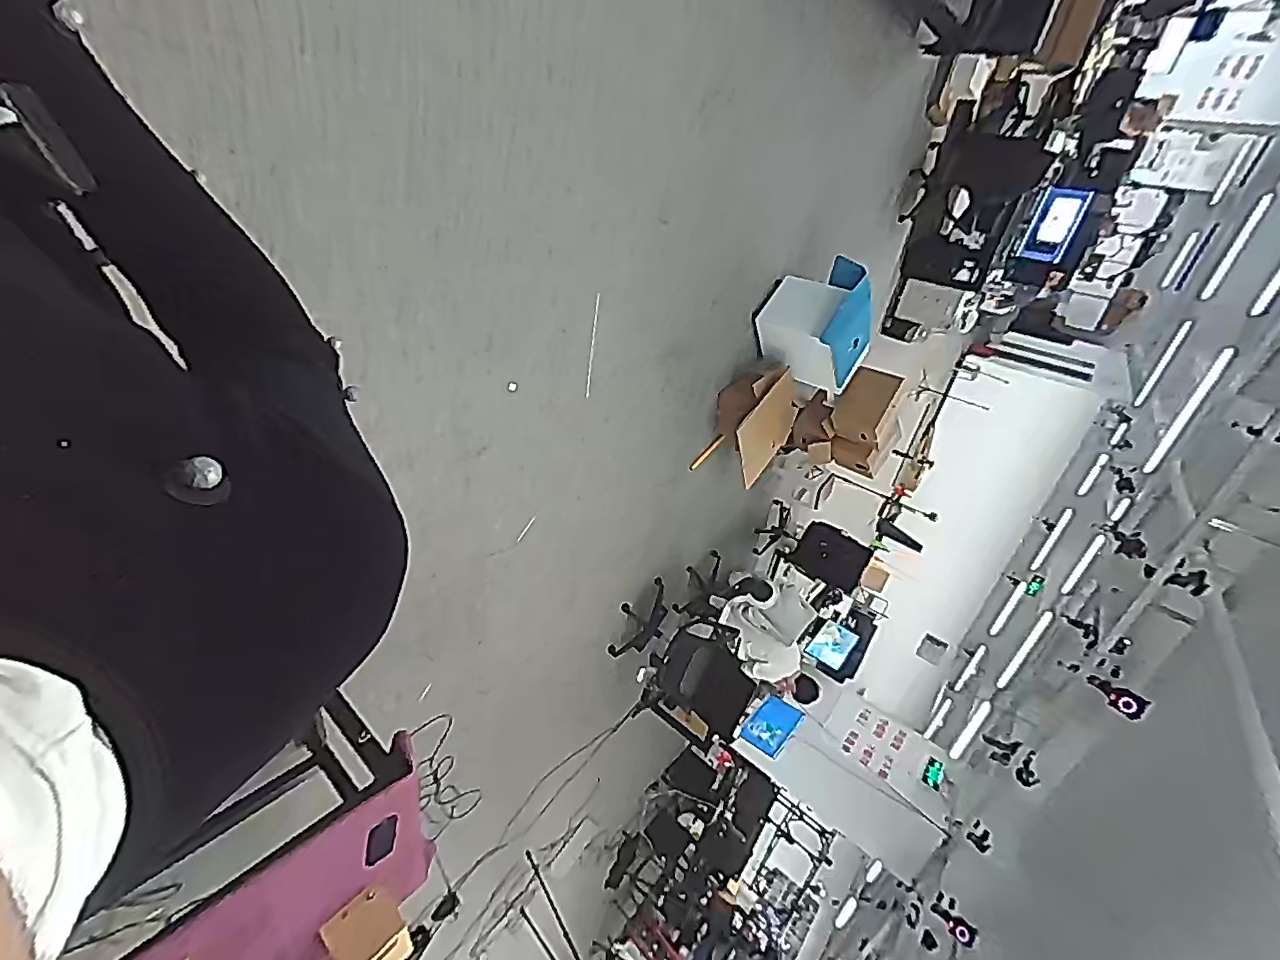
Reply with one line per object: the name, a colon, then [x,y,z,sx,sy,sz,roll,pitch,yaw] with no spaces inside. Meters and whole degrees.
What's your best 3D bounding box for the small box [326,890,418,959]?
small box: [-0.751,1.307,1.517,0.168,0.176,0.179,-28,136,-43]
